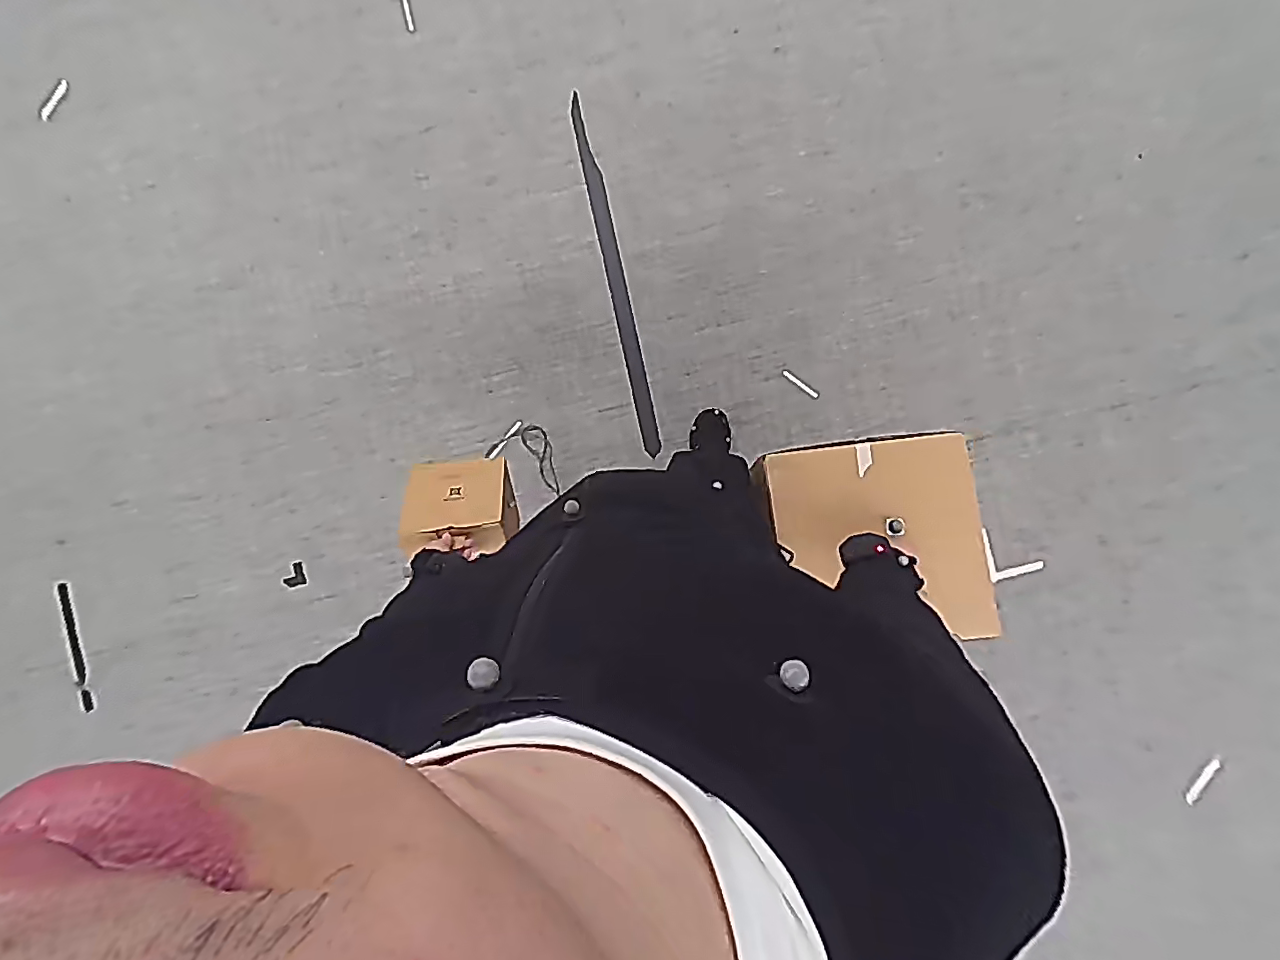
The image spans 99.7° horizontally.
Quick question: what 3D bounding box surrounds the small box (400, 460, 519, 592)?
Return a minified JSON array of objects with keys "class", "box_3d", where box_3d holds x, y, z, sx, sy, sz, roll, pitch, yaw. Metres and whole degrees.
[{"class":"small box","box_3d":[-0.318,0.089,0.994,0.168,0.179,0.176,-7,130,-6]}]
